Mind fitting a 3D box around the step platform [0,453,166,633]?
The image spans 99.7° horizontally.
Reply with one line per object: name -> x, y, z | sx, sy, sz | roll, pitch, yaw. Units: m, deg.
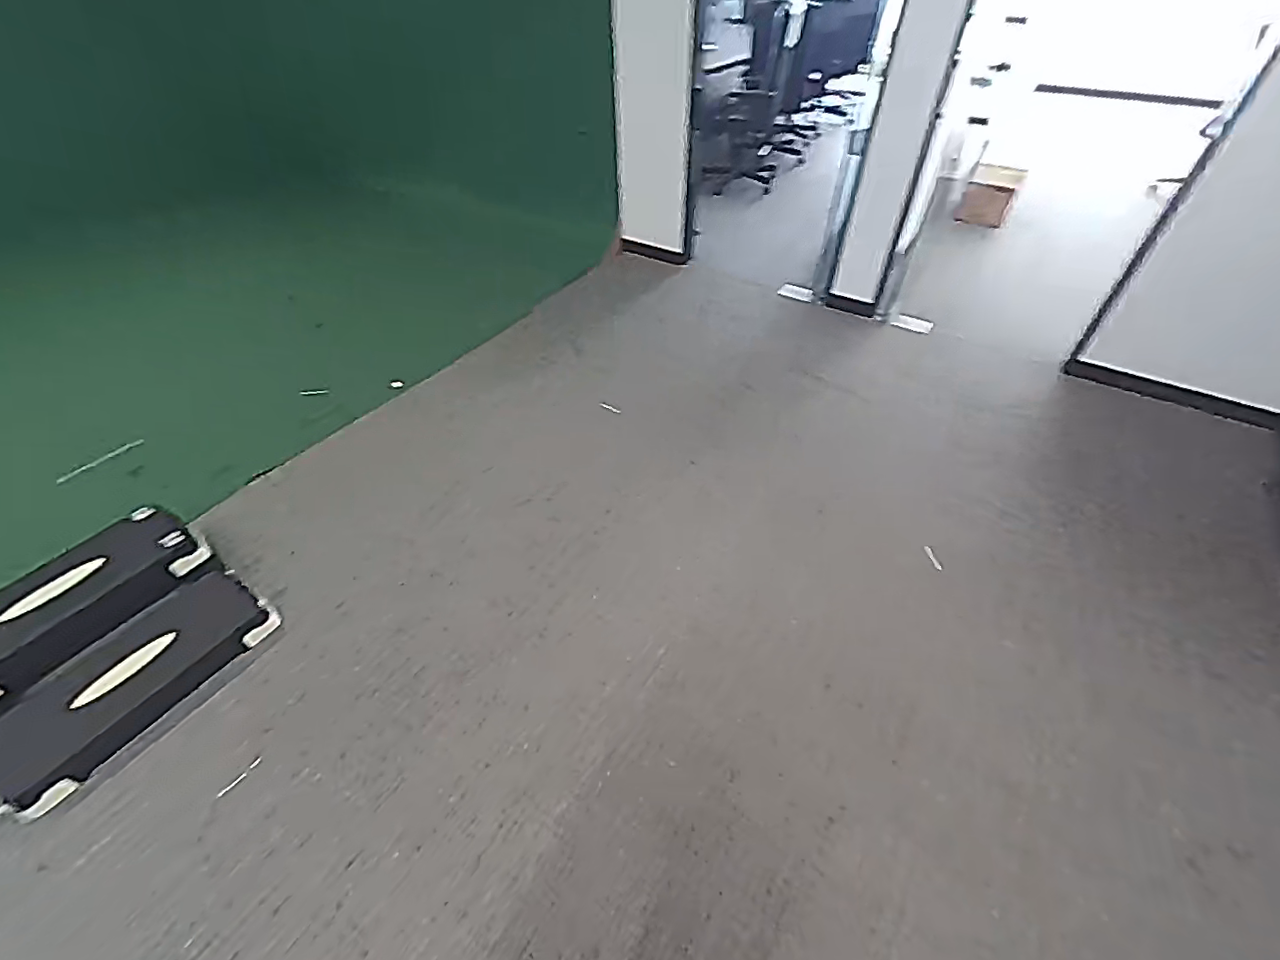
step platform -> -1.732, 0.224, 1.467 | 0.286, 0.204, 0.684 | 26, 52, 23
